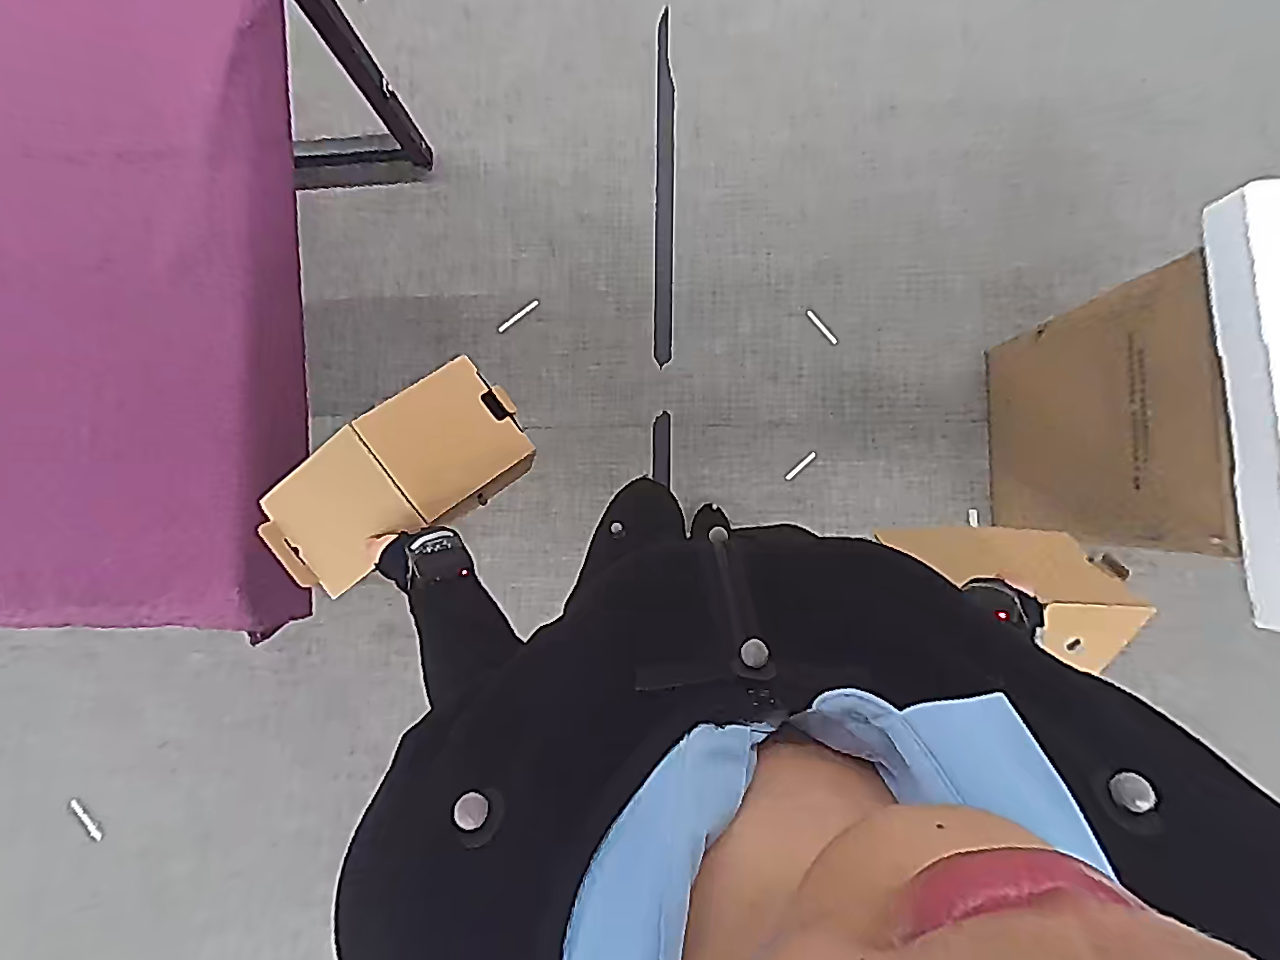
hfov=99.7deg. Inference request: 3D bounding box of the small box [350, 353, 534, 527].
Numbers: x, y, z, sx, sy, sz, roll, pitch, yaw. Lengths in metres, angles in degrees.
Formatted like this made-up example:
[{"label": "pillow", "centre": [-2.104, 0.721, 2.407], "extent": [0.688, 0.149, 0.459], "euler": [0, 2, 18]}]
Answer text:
[{"label": "small box", "centre": [-0.271, -0.046, 0.779], "extent": [0.179, 0.176, 0.168], "euler": [-37, 92, -17]}]
